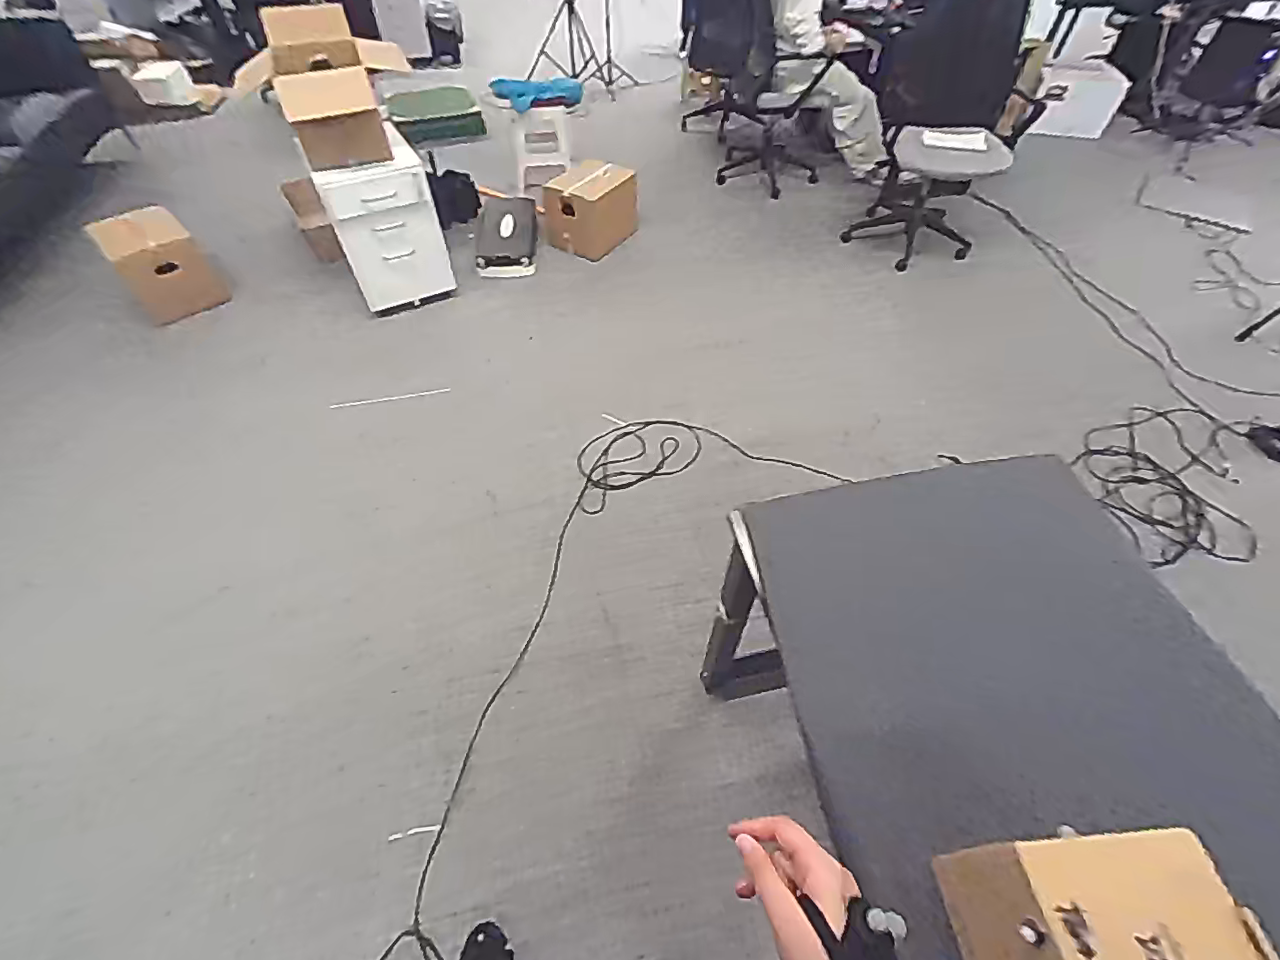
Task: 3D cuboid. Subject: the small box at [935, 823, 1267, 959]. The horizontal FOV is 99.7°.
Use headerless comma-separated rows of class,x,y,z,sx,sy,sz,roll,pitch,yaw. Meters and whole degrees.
small box,0.424,0.433,0.509,0.179,0.176,0.168,-1,50,-5
